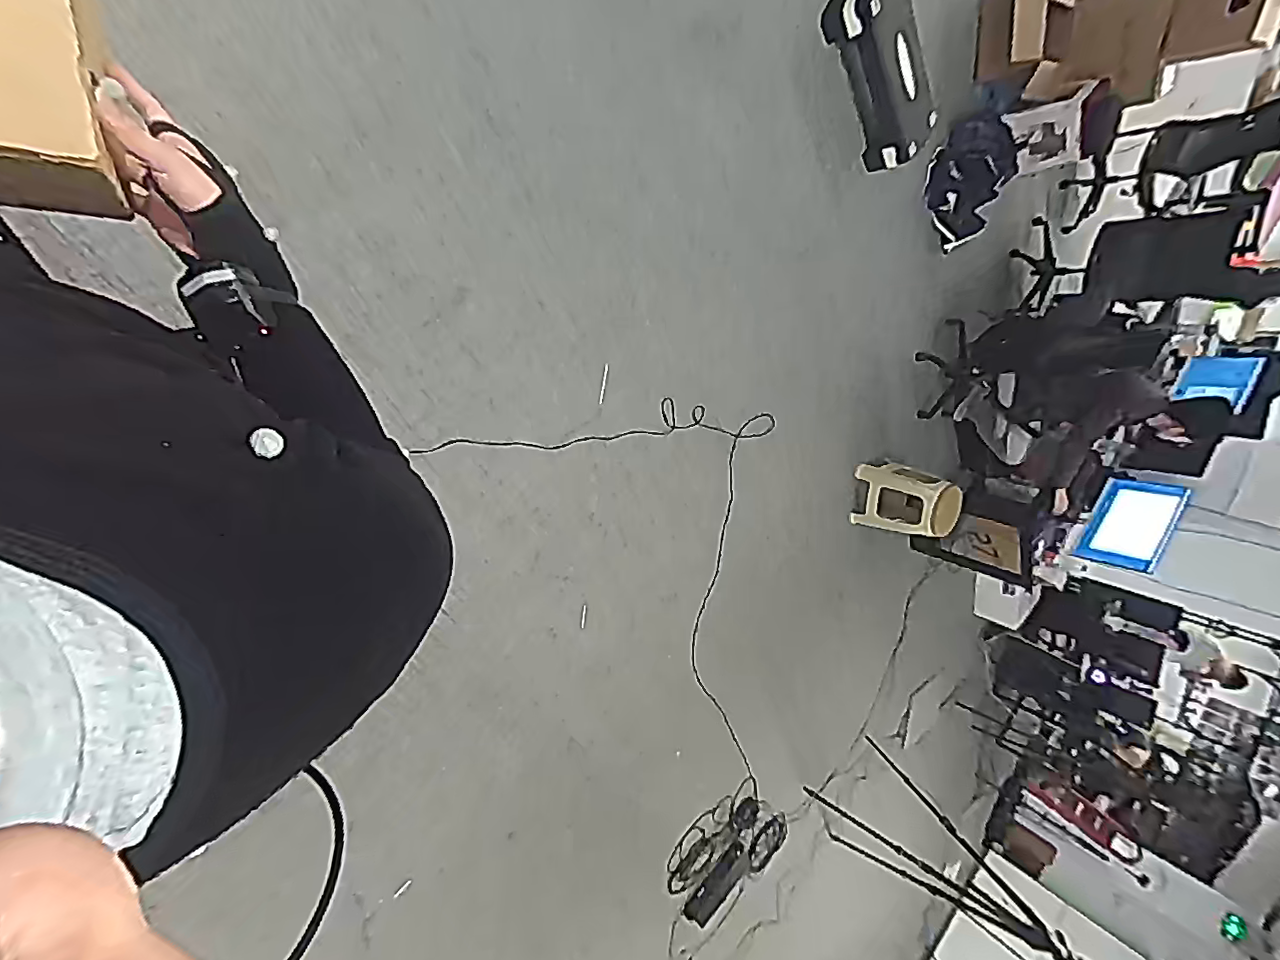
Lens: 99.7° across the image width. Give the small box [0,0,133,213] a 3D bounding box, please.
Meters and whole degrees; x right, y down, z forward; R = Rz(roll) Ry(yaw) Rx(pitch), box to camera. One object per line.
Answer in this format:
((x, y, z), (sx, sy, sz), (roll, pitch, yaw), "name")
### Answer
((-0.459, -0.287, 0.348), (0.168, 0.176, 0.179), (-11, 107, -37), "small box")
